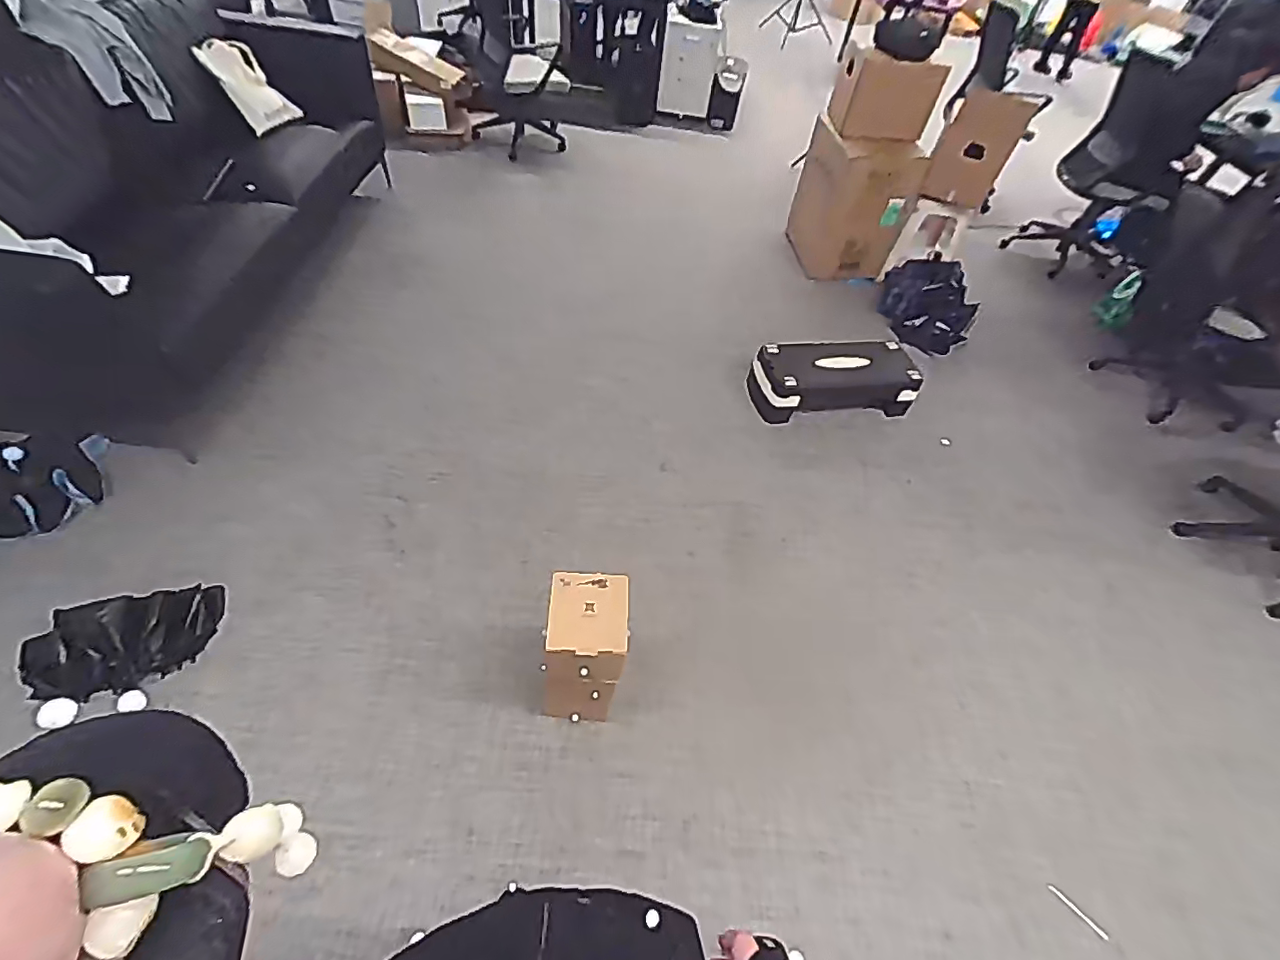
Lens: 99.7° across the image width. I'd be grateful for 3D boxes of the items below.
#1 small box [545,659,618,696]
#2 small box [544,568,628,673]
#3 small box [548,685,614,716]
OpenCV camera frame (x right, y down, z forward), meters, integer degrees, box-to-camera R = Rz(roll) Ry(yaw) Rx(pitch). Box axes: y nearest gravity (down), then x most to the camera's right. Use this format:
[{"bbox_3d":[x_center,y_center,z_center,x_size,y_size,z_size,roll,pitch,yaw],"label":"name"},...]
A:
[{"bbox_3d":[-0.133,0.410,1.308,0.168,0.176,0.179,5,50,-4],"label":"small box"},{"bbox_3d":[-0.115,0.310,1.179,0.168,0.176,0.179,4,53,-5],"label":"small box"},{"bbox_3d":[-0.150,0.508,1.435,0.168,0.176,0.179,5,52,-3],"label":"small box"}]
